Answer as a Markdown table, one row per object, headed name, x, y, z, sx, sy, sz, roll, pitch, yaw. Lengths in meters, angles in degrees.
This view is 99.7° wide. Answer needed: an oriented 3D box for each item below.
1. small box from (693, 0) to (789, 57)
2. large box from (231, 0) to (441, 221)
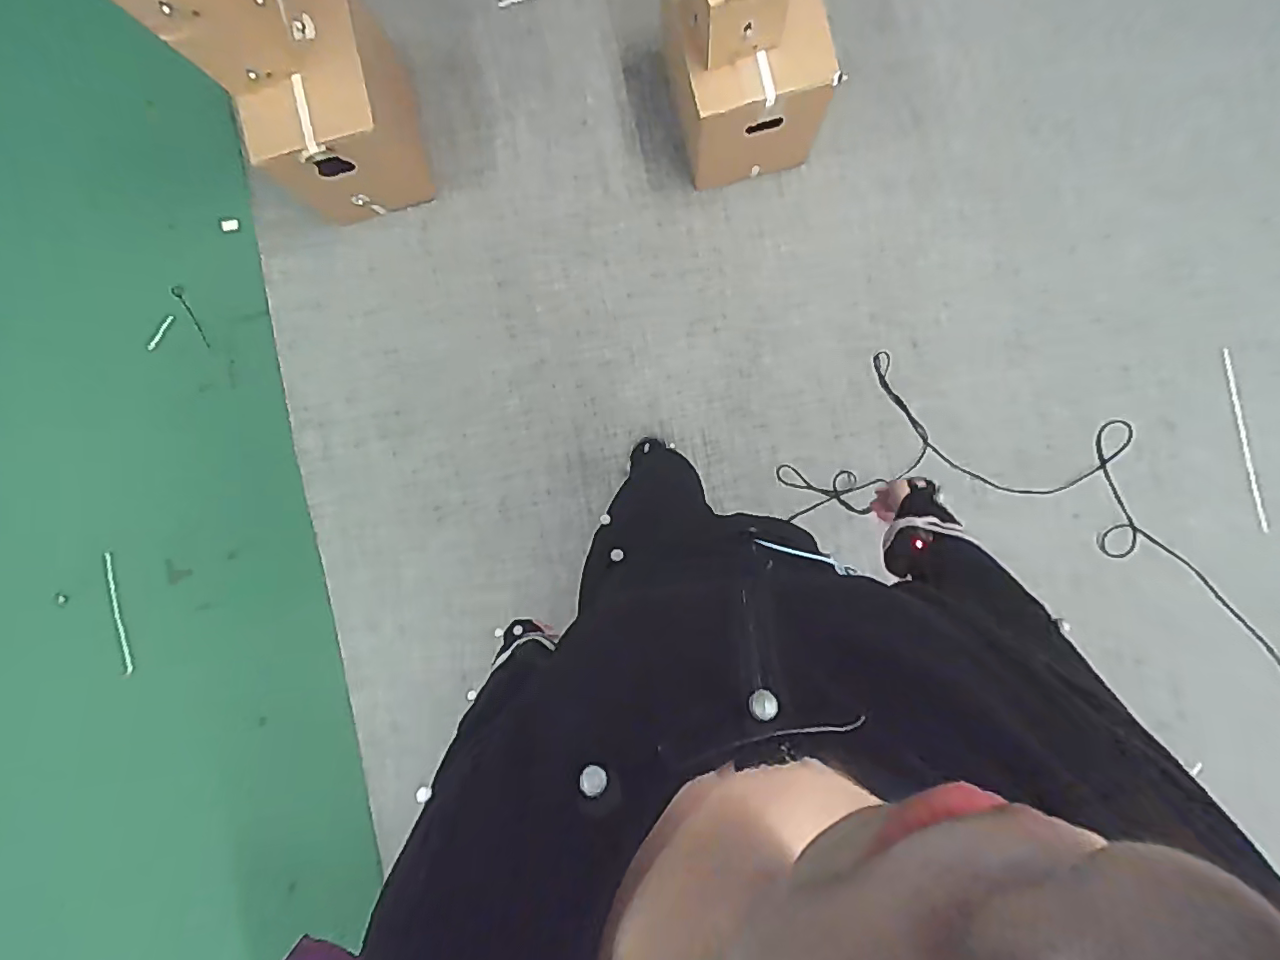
| name | x | y | z | sx | sy | sz | roll | pitch | yaw |
| --- | --- | --- | --- | --- | --- | --- | --- | --- | --- |
| small box | 0.202 | -1.004 | 1.089 | 0.168 | 0.176 | 0.179 | -16 | 90 | 6 |
| large box | -0.766 | -0.972 | 1.405 | 0.320 | 0.320 | 0.408 | -13 | 88 | 5 |
